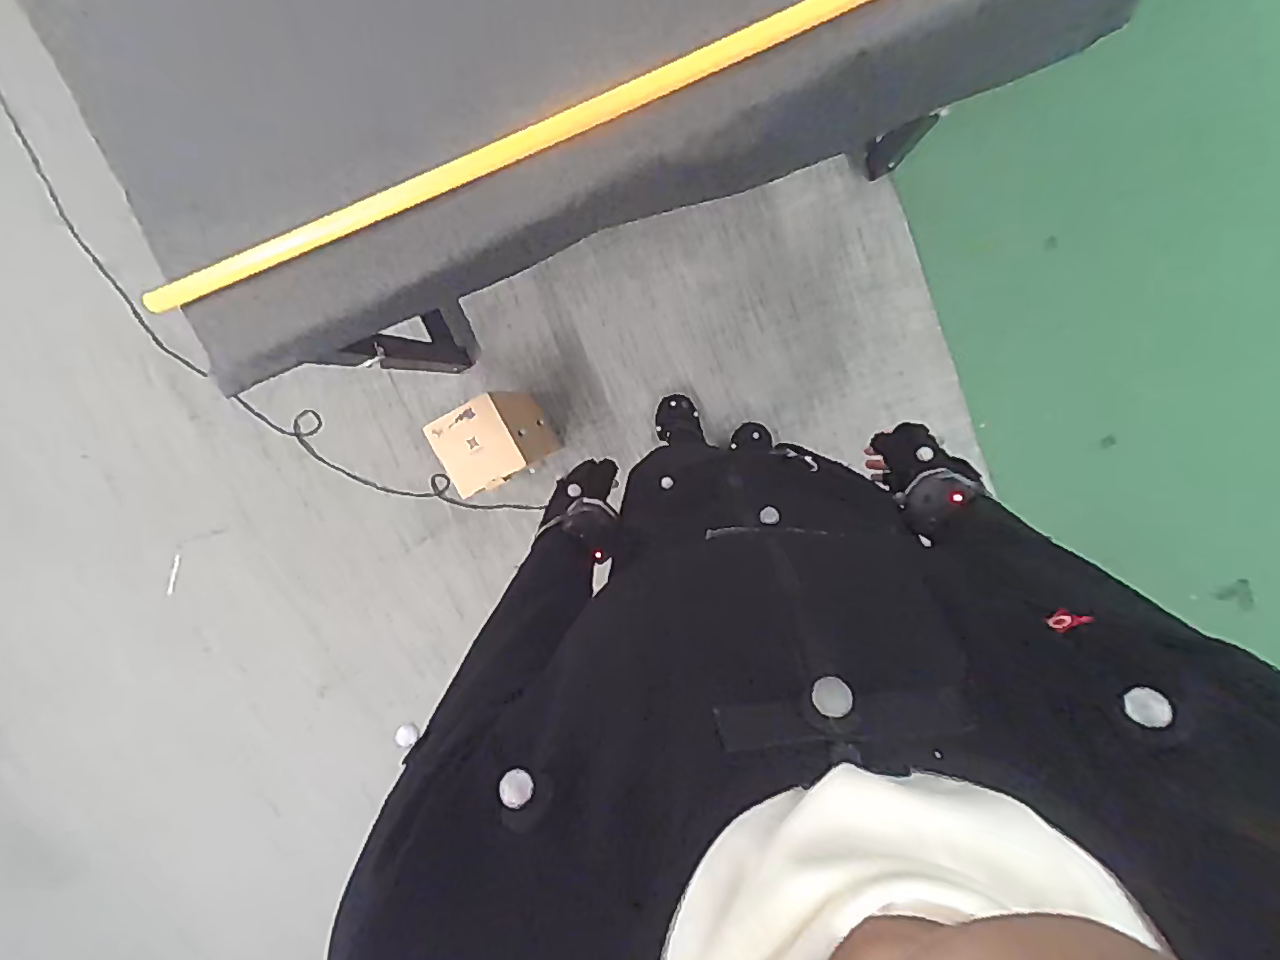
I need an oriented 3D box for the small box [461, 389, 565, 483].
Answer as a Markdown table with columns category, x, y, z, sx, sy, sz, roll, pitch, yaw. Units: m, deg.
| category | x | y | z | sx | sy | sz | roll | pitch | yaw |
| --- | --- | --- | --- | --- | --- | --- | --- | --- | --- |
| small box | -0.314 | -0.115 | 1.370 | 0.168 | 0.176 | 0.179 | -29 | 96 | 10 |
